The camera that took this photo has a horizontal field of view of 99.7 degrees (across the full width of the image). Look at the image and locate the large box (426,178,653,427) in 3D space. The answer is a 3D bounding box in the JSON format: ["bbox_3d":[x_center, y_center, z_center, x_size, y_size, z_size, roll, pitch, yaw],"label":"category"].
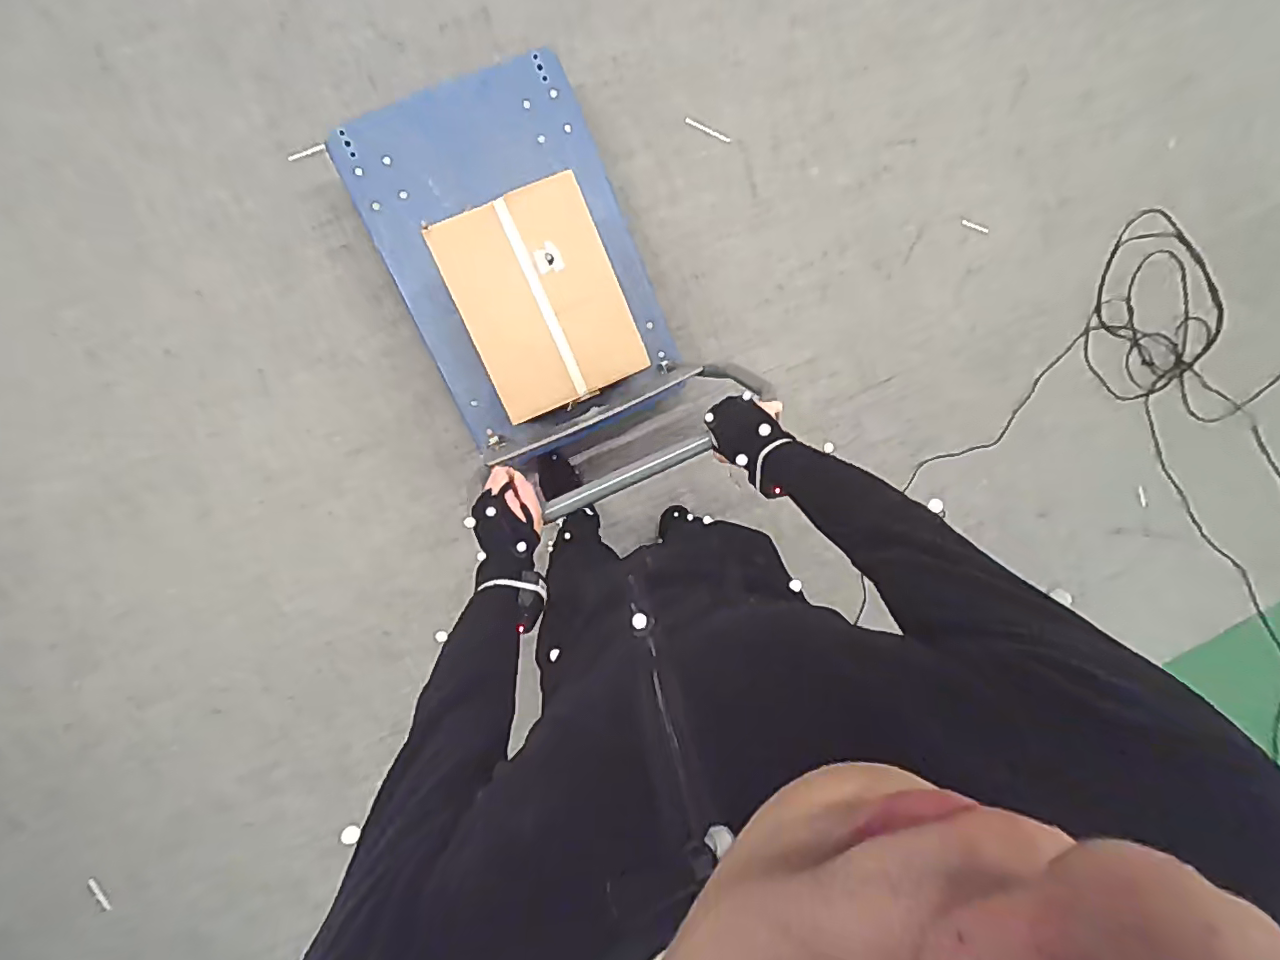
[{"bbox_3d":[-0.206,-0.364,1.211,0.320,0.320,0.408,-25,101,-4],"label":"large box"}]
